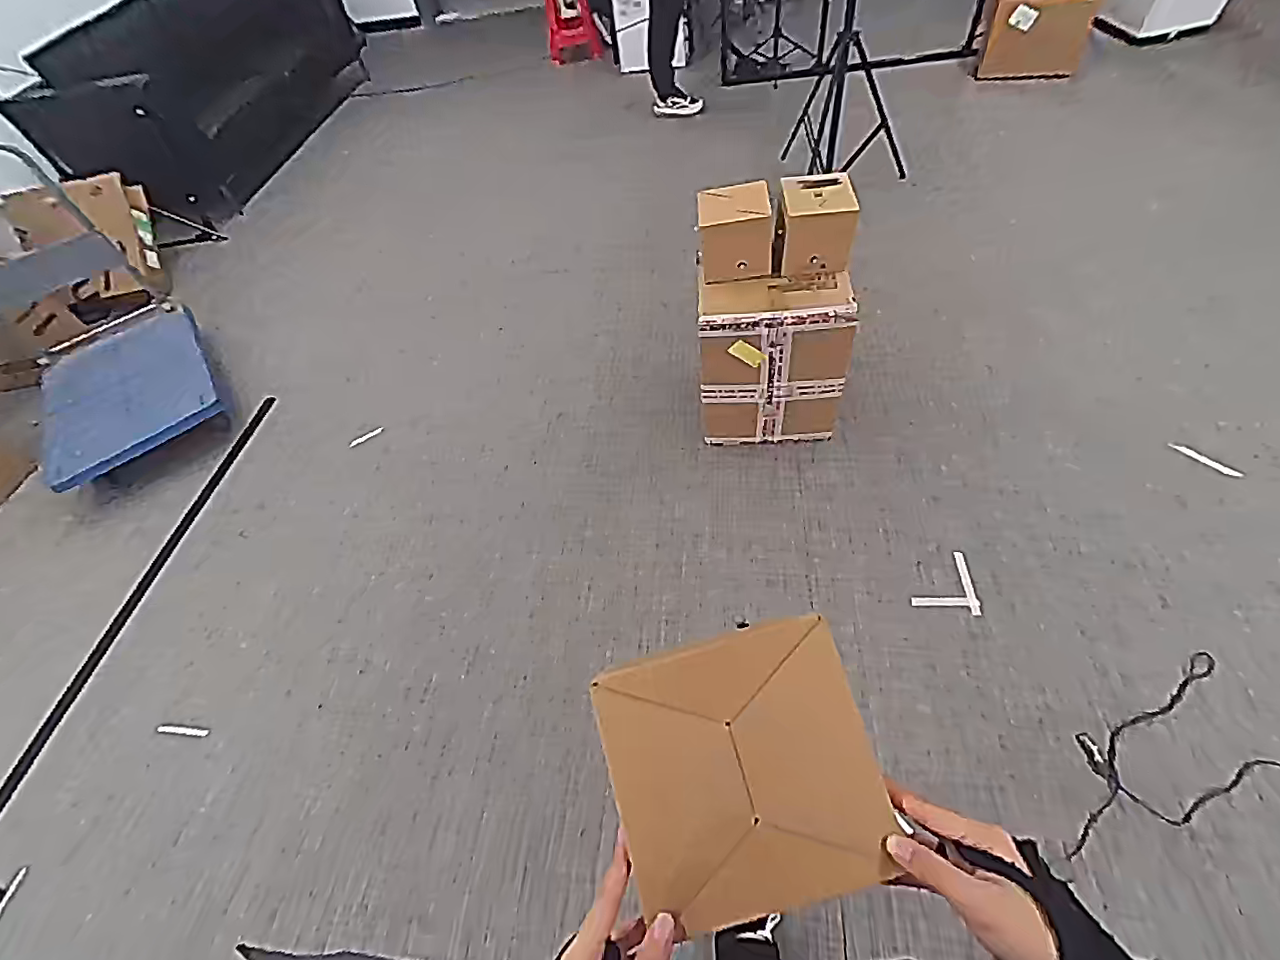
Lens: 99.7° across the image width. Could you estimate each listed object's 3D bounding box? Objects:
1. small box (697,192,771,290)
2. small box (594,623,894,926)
[{"bbox_3d":[0.247,-0.629,1.418,0.179,0.176,0.168,-4,54,10],"label":"small box"},{"bbox_3d":[0.069,0.219,0.445,0.179,0.176,0.168,-15,75,-1],"label":"small box"}]
